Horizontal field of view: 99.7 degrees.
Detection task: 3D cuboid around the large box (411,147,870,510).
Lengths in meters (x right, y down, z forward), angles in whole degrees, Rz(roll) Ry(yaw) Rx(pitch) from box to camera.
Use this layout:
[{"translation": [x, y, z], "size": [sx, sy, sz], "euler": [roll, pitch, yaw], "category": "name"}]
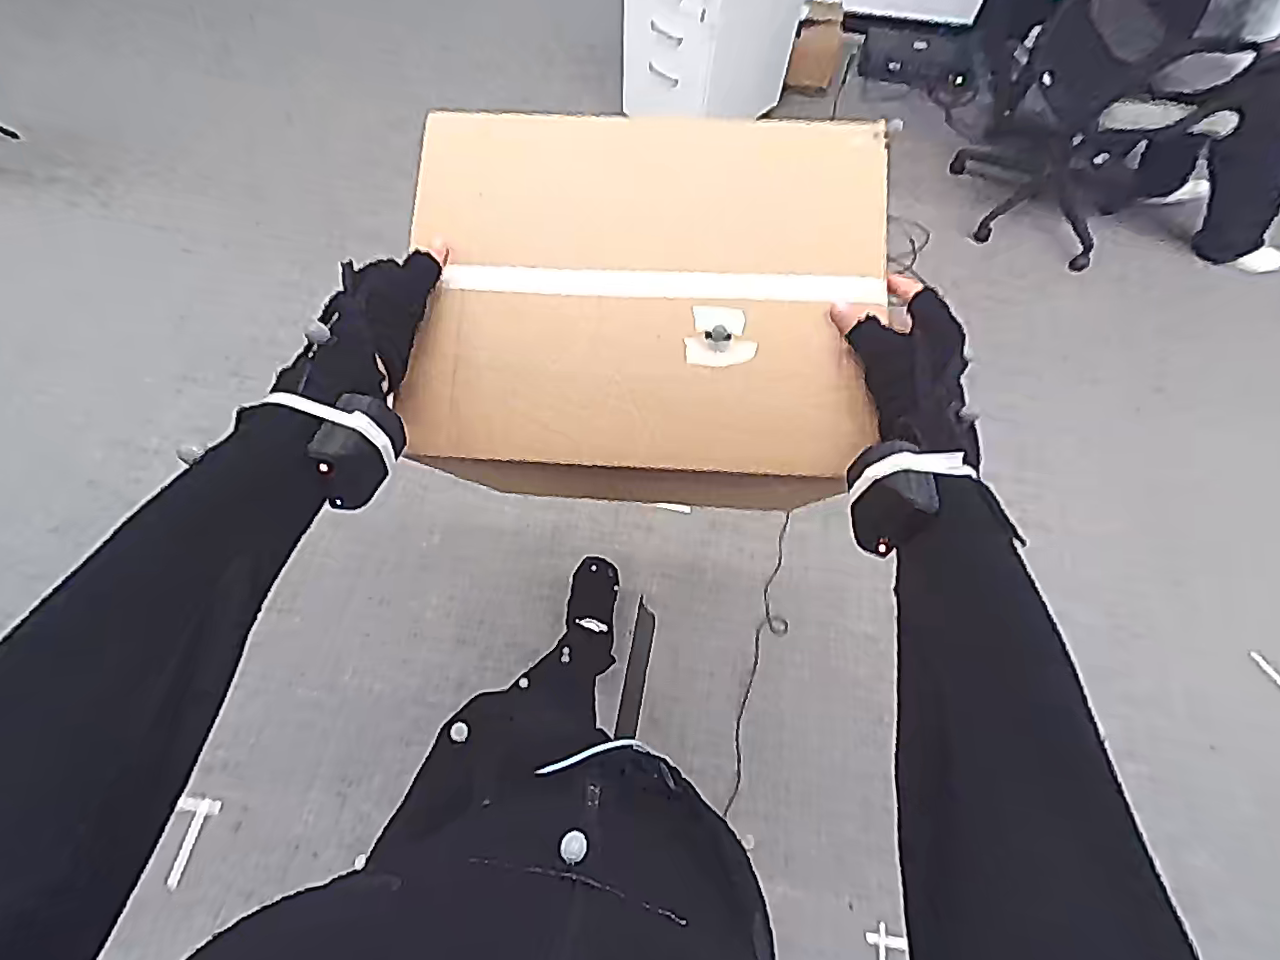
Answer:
[{"translation": [0.005, -0.137, 0.633], "size": [0.408, 0.320, 0.320], "euler": [3, 82, 2], "category": "large box"}]
